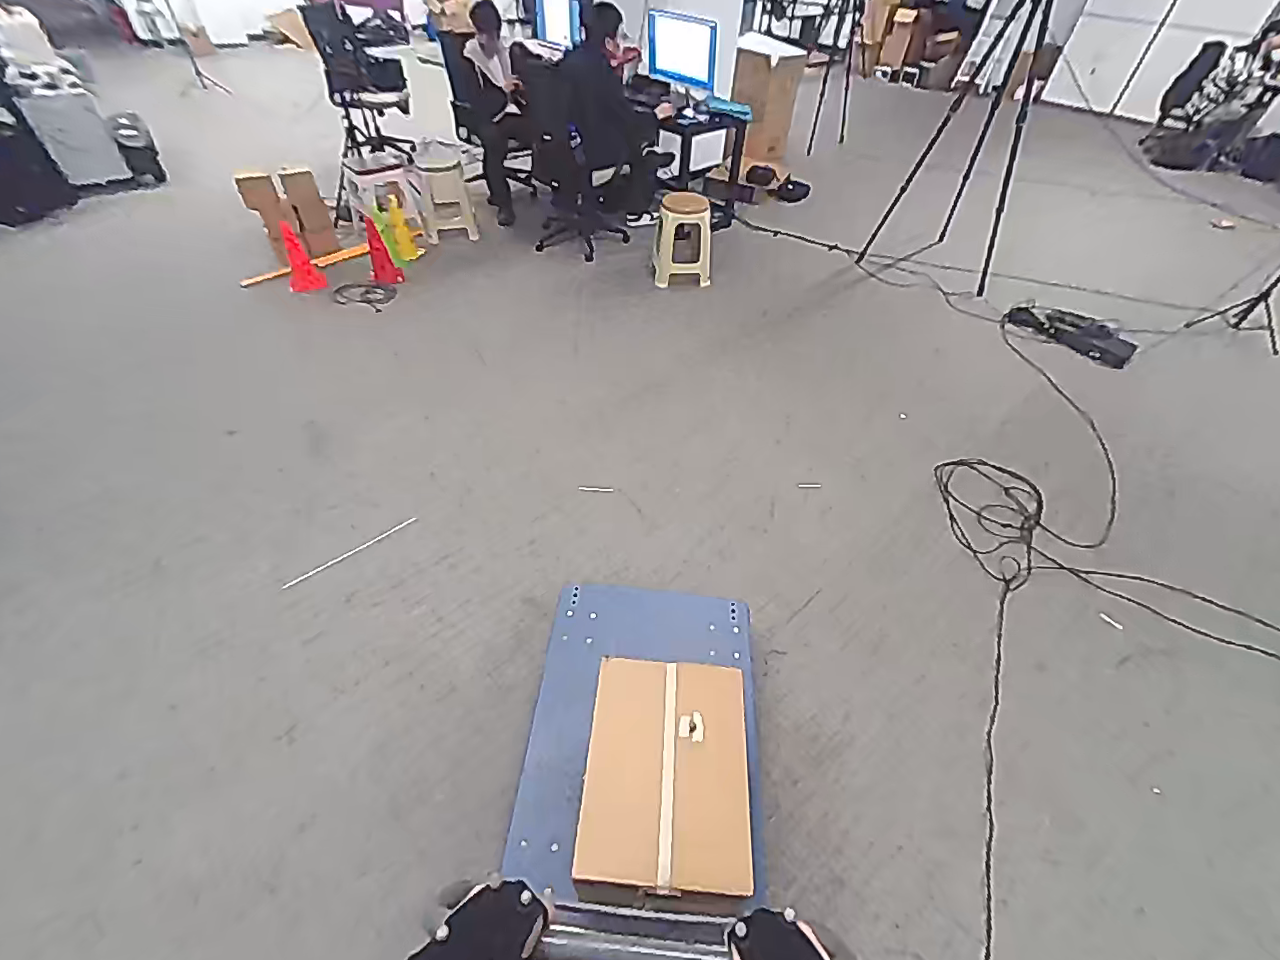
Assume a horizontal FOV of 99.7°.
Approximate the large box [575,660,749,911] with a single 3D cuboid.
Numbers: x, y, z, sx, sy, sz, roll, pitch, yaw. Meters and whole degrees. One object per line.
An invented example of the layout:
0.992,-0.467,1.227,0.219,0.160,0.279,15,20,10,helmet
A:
0.046,0.662,1.182,0.320,0.320,0.408,5,45,1,large box
